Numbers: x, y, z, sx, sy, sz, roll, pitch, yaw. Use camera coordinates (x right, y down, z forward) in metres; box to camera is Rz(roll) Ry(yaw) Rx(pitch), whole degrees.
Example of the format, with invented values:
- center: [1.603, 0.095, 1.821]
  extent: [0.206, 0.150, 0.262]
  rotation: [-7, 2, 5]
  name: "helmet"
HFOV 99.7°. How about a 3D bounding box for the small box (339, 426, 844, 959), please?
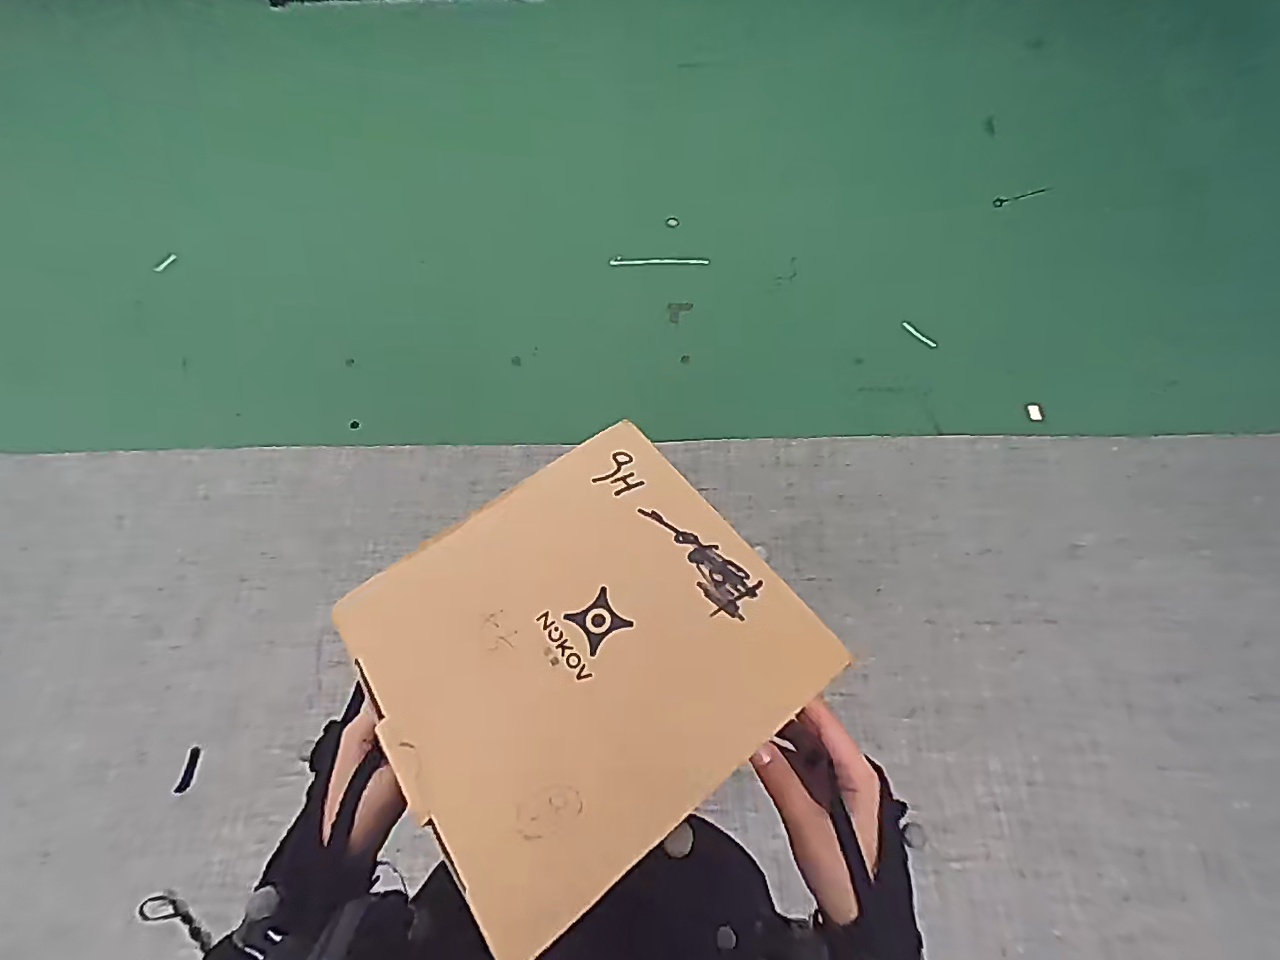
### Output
- center: [-0.022, 0.110, 0.310]
  extent: [0.179, 0.176, 0.168]
  rotation: [-34, 64, -16]
  name: "small box"
